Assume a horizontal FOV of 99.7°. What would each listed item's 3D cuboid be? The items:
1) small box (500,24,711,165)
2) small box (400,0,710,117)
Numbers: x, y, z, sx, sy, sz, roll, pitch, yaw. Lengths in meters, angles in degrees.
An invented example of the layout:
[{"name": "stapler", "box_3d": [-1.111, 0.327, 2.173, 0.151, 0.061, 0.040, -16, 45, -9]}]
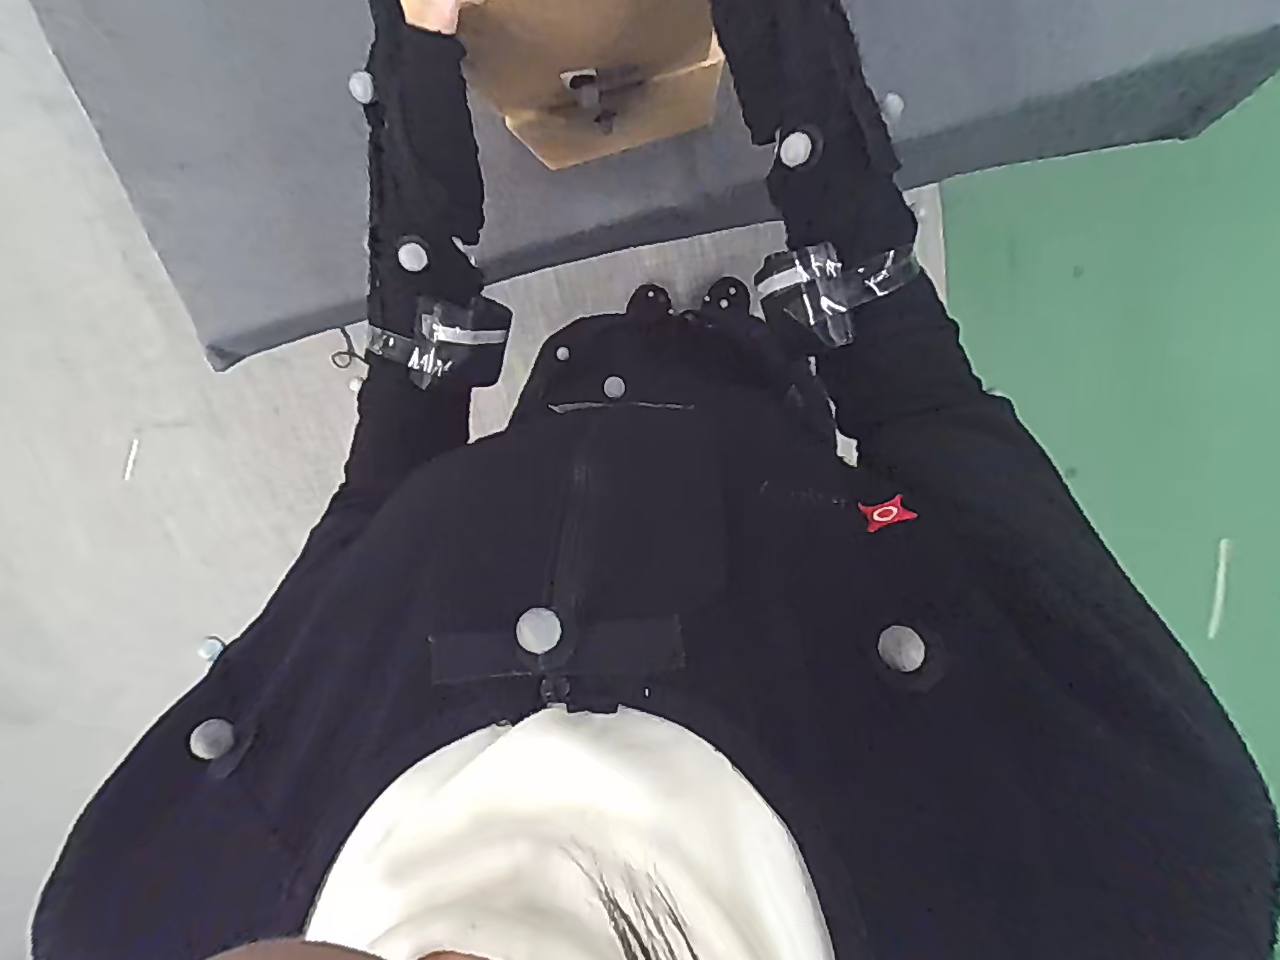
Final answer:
[{"name": "small box", "box_3d": [-0.039, -0.407, 0.488, 0.179, 0.176, 0.168, -12, 109, 7]}, {"name": "small box", "box_3d": [-0.054, -0.352, 0.314, 0.168, 0.176, 0.179, -11, 107, 7]}]
